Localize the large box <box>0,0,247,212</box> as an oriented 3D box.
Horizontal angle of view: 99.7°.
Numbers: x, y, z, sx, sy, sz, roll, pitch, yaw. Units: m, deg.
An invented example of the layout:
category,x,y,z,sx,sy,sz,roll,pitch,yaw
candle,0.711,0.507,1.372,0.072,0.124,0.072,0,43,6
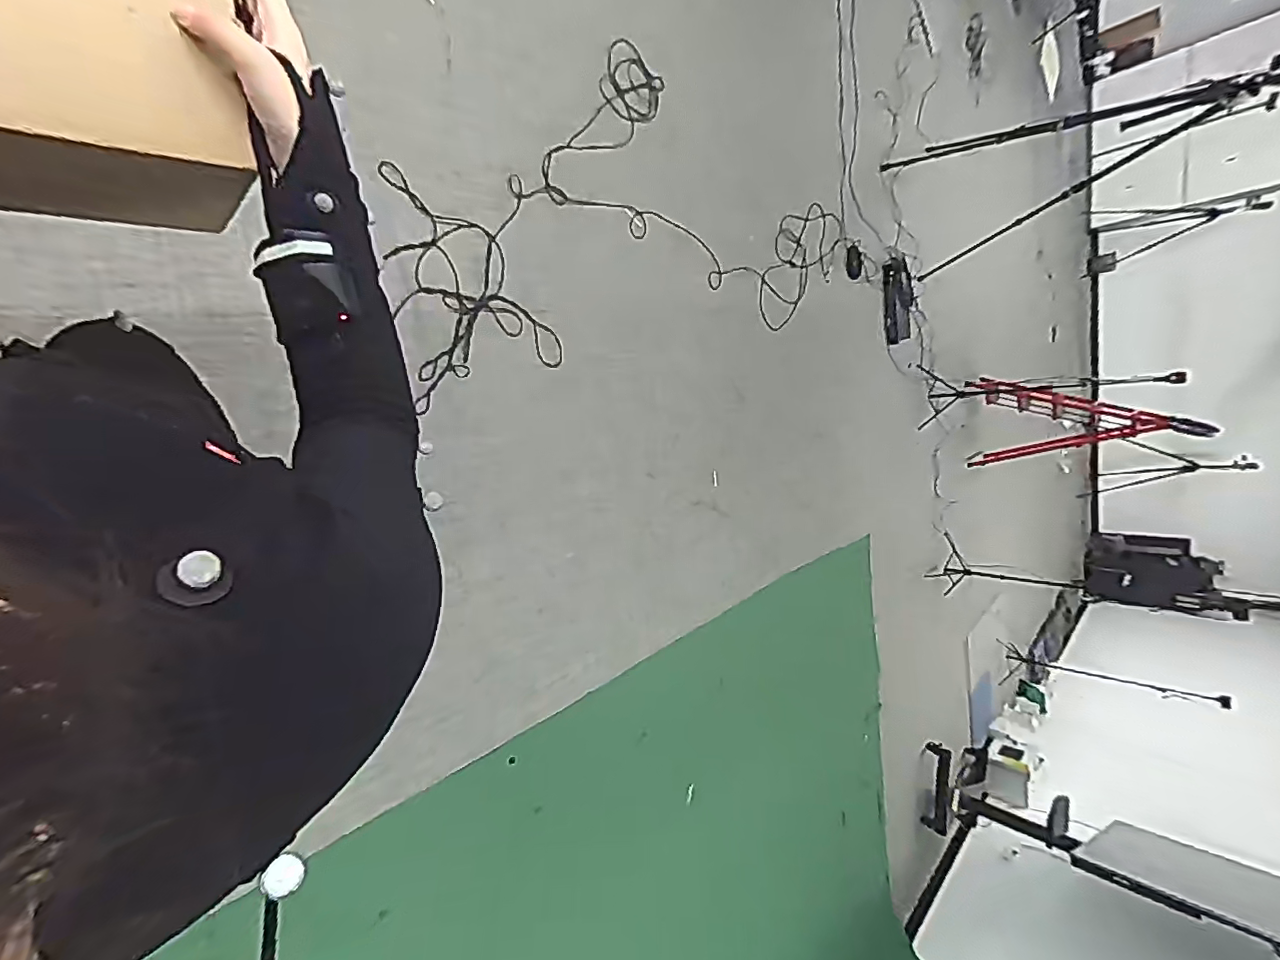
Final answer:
category,x,y,z,sx,sy,sz,roll,pitch,yaw
large box,-0.539,-0.385,0.353,0.408,0.320,0.320,-12,109,-38
